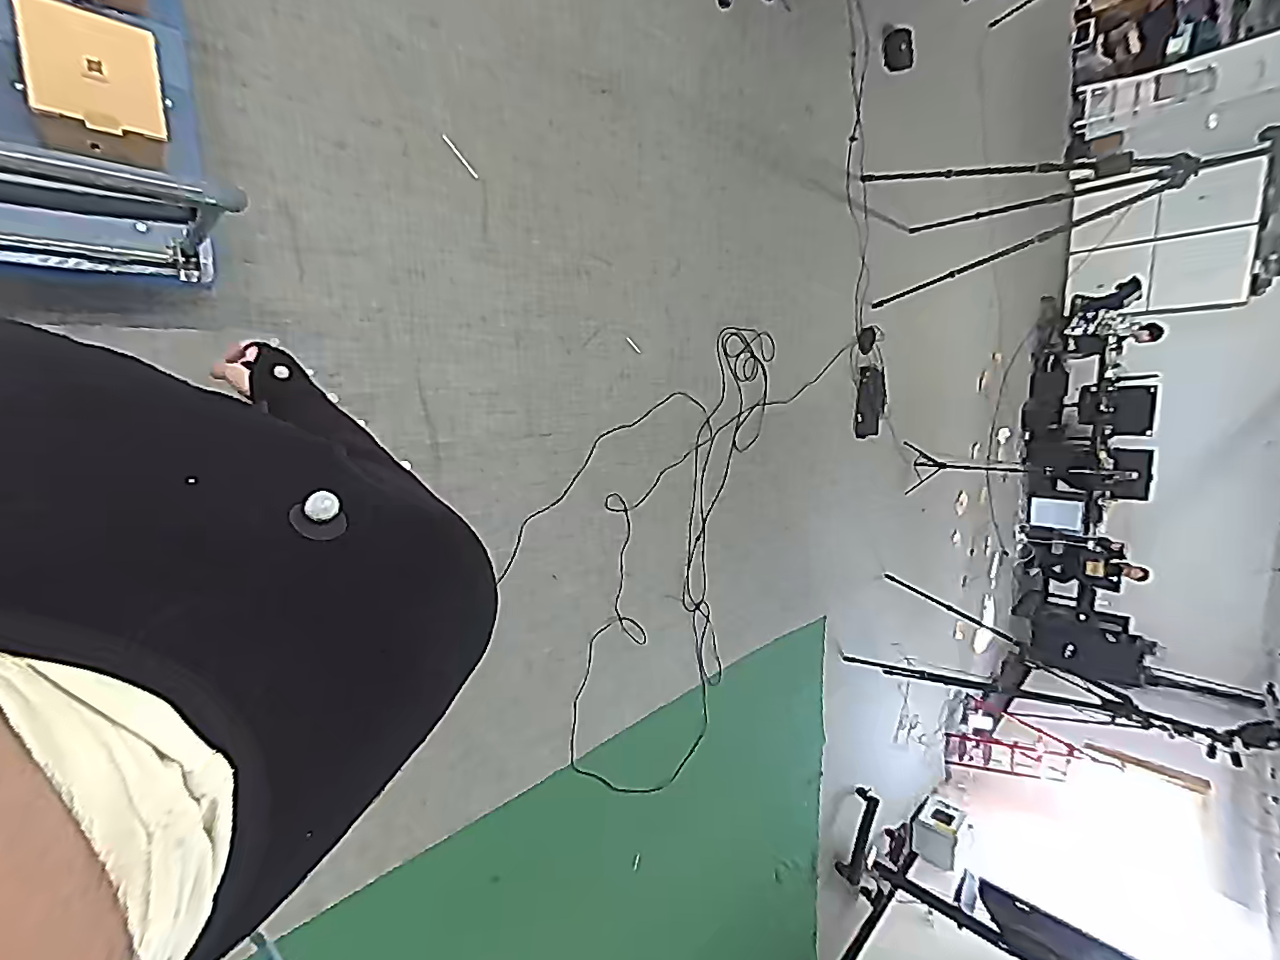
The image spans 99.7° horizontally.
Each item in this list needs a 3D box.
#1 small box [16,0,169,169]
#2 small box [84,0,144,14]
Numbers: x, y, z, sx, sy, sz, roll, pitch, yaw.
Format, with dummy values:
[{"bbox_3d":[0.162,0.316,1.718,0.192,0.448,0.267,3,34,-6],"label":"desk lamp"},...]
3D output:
[{"bbox_3d":[-0.955,-0.684,0.951,0.168,0.176,0.179,-10,102,-42],"label":"small box"},{"bbox_3d":[-0.963,-0.949,0.908,0.168,0.176,0.179,-15,106,-41],"label":"small box"}]
